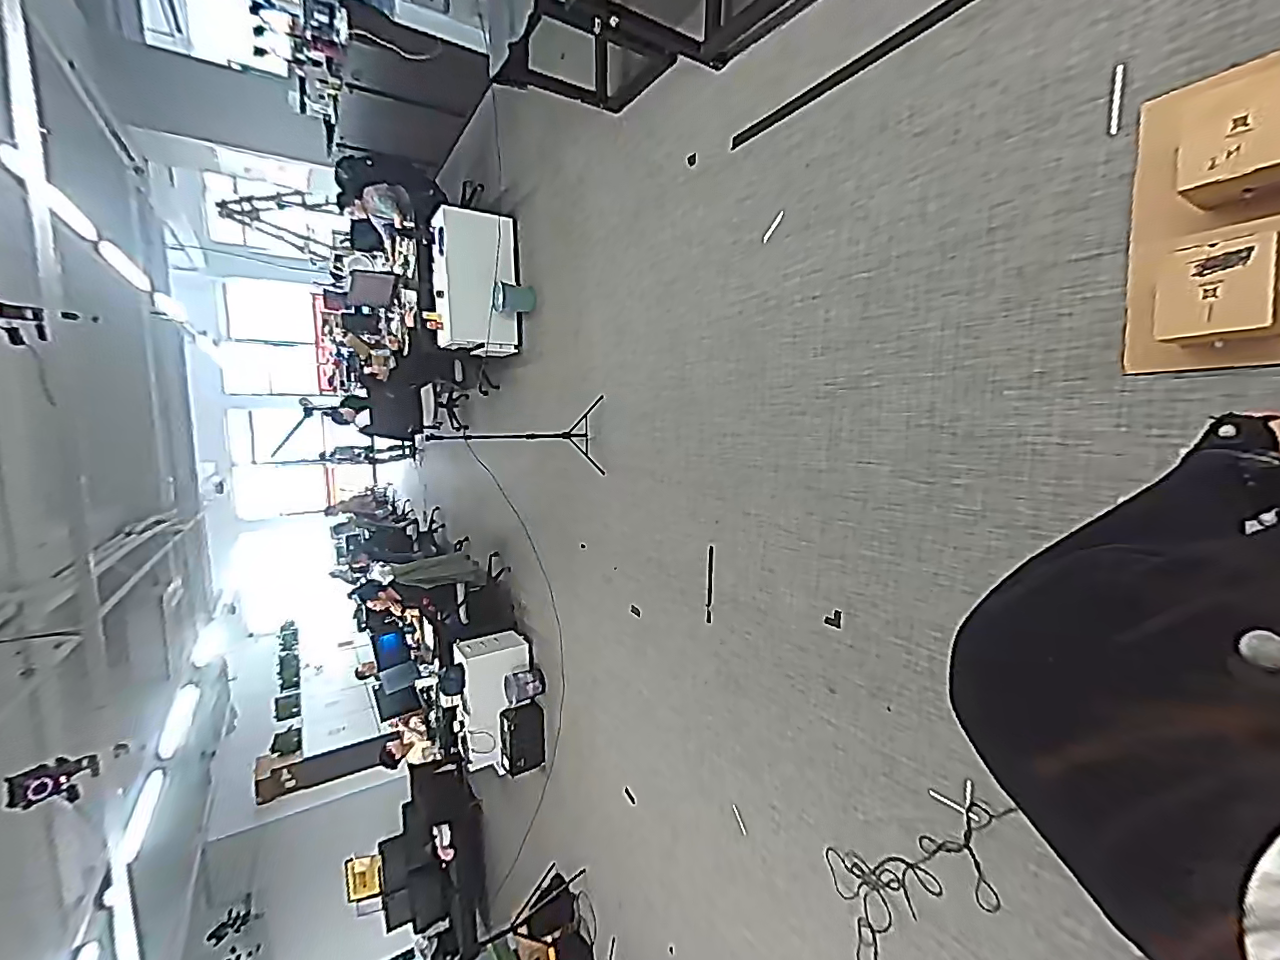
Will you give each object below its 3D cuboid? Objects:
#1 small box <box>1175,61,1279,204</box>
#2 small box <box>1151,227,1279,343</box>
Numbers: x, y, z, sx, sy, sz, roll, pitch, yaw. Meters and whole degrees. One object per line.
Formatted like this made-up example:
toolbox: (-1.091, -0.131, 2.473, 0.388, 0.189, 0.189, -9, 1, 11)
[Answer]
small box: (1.172, -0.661, 1.040, 0.168, 0.176, 0.179, 8, 101, 58)
small box: (1.167, -0.379, 1.085, 0.168, 0.176, 0.179, 6, 100, 58)
